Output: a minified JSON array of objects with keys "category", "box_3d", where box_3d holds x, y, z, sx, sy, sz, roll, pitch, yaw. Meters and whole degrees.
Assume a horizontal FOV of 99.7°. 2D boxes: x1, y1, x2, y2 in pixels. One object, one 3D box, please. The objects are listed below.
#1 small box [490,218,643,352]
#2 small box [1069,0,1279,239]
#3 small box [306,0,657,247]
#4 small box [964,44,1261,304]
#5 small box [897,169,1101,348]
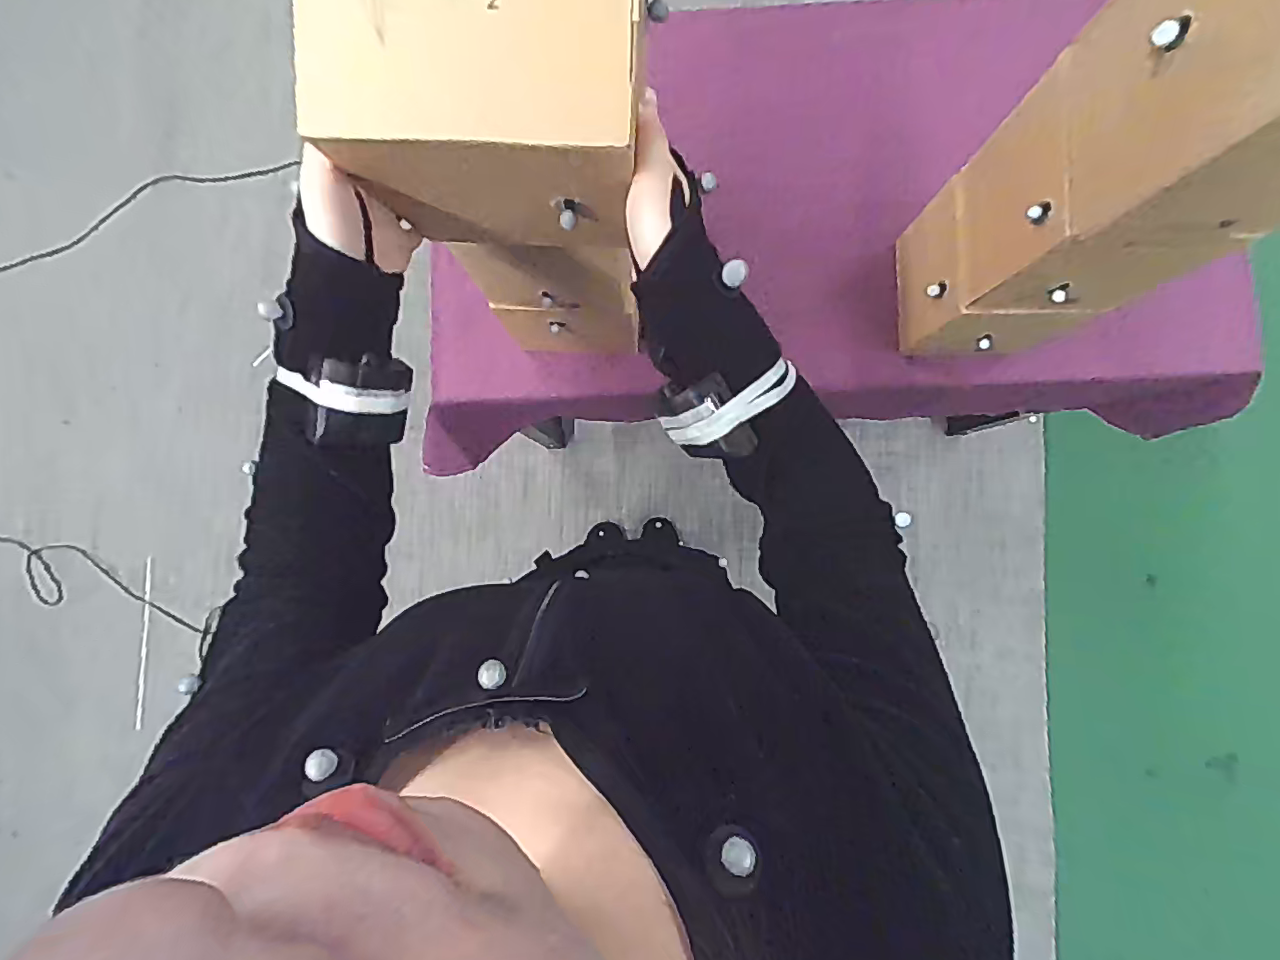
[{"category":"small box","box_3d":[-0.088,-0.279,0.733,0.179,0.176,0.168,2,87,1]},{"category":"small box","box_3d":[0.454,-0.302,0.390,0.168,0.176,0.179,-4,87,2]},{"category":"small box","box_3d":[-0.079,-0.260,0.347,0.179,0.176,0.168,3,97,1]},{"category":"small box","box_3d":[0.459,-0.297,0.554,0.168,0.176,0.179,0,88,2]},{"category":"small box","box_3d":[0.459,-0.280,0.717,0.168,0.176,0.179,0,86,1]}]
